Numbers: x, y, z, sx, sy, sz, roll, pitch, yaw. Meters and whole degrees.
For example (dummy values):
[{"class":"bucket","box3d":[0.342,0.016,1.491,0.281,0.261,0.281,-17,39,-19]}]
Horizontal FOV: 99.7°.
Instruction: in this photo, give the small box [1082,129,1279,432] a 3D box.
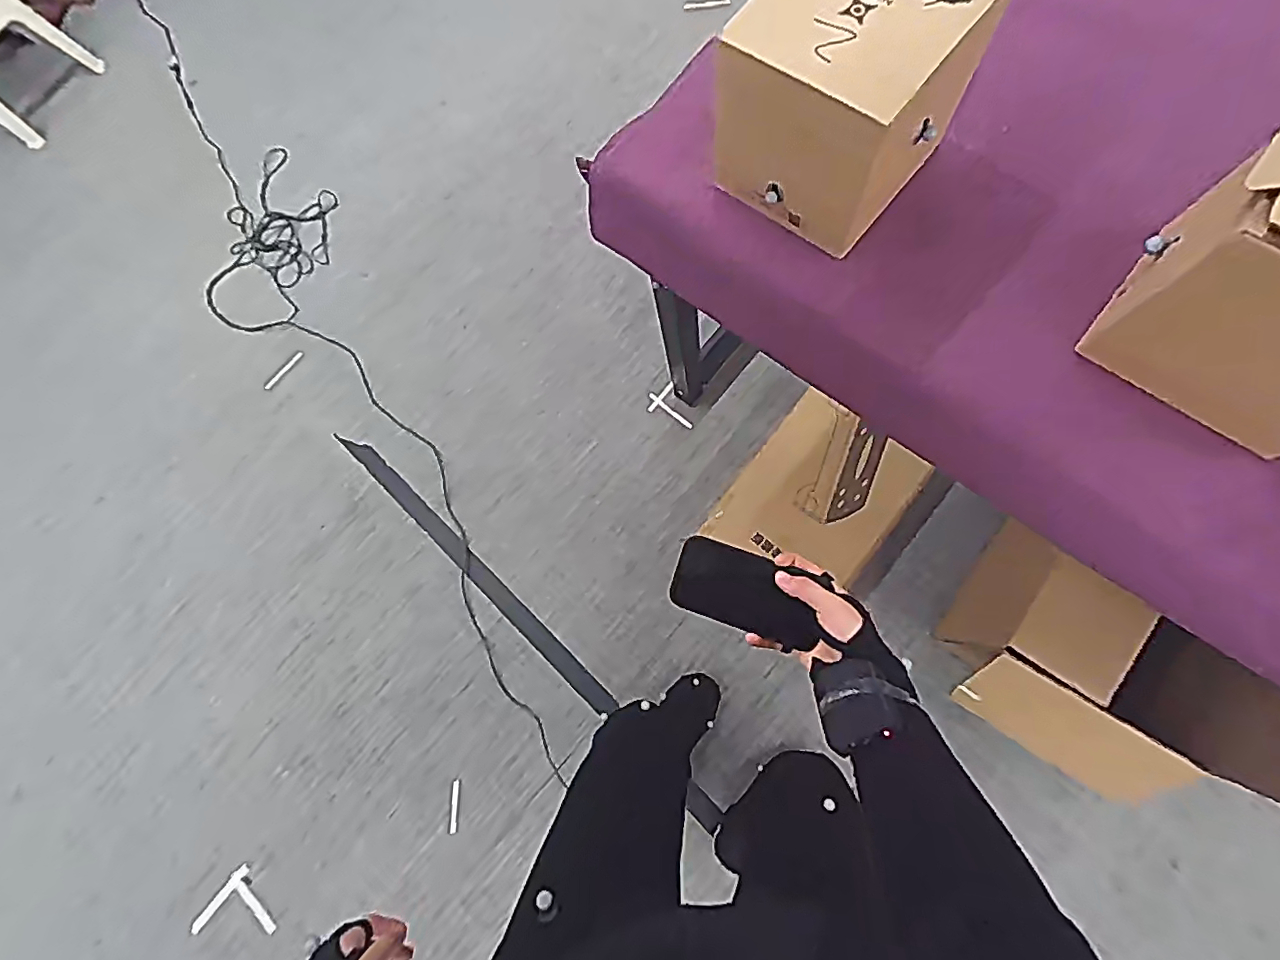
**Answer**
[{"class":"small box","box3d":[0.509,-0.156,0.411,0.179,0.176,0.168,38,83,14]}]
